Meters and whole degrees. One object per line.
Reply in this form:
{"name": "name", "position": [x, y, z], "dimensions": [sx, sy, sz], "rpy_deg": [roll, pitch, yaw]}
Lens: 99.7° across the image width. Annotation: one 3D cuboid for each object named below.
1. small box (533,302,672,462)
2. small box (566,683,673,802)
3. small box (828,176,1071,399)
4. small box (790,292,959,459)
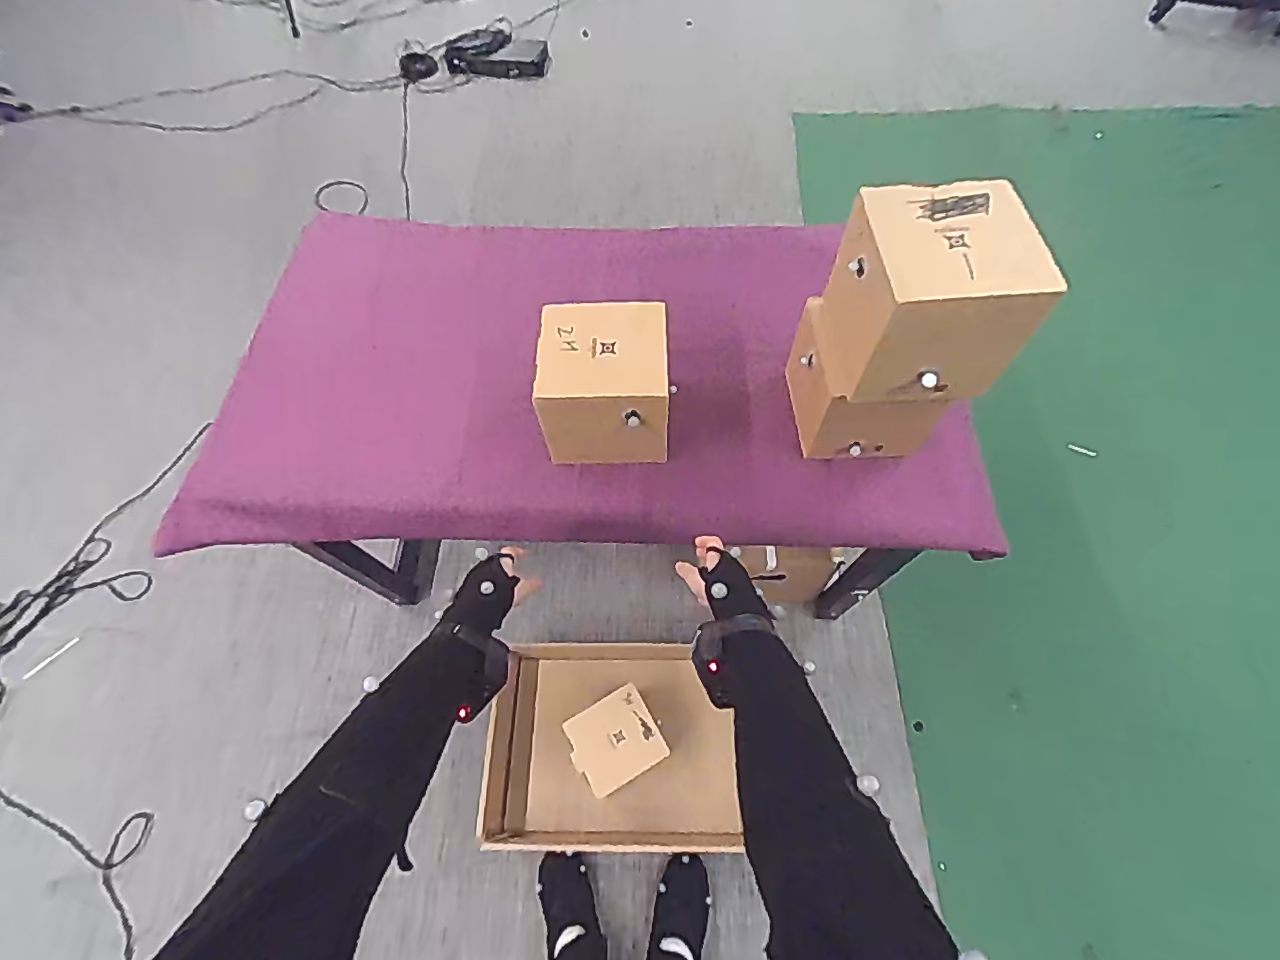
{"name": "small box", "position": [-0.045, -0.136, 0.786], "dimensions": [0.179, 0.176, 0.168], "rpy_deg": [-2, 61, 2]}
{"name": "small box", "position": [-0.038, 0.574, 1.184], "dimensions": [0.179, 0.176, 0.168], "rpy_deg": [-28, 65, -11]}
{"name": "small box", "position": [0.330, -0.215, 0.624], "dimensions": [0.168, 0.176, 0.179], "rpy_deg": [-3, 62, 3]}
{"name": "small box", "position": [0.322, -0.149, 0.775], "dimensions": [0.168, 0.176, 0.179], "rpy_deg": [-3, 62, 3]}
